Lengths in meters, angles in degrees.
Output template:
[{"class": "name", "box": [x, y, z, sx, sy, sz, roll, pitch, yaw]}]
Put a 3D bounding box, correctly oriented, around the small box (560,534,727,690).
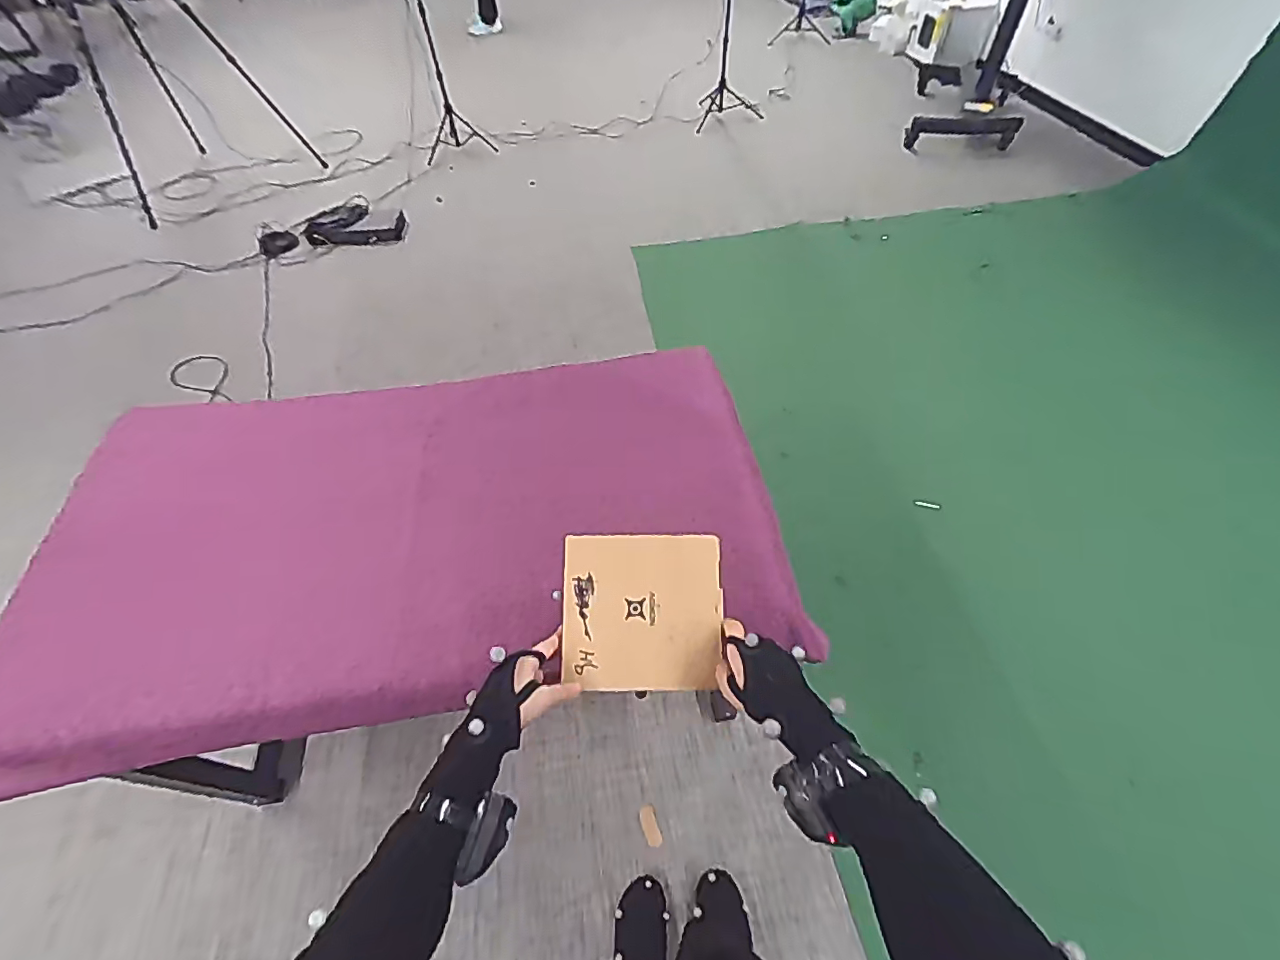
[{"class": "small box", "box": [0.001, 0.164, 0.659, 0.179, 0.176, 0.168, 0, 71, -2]}]
